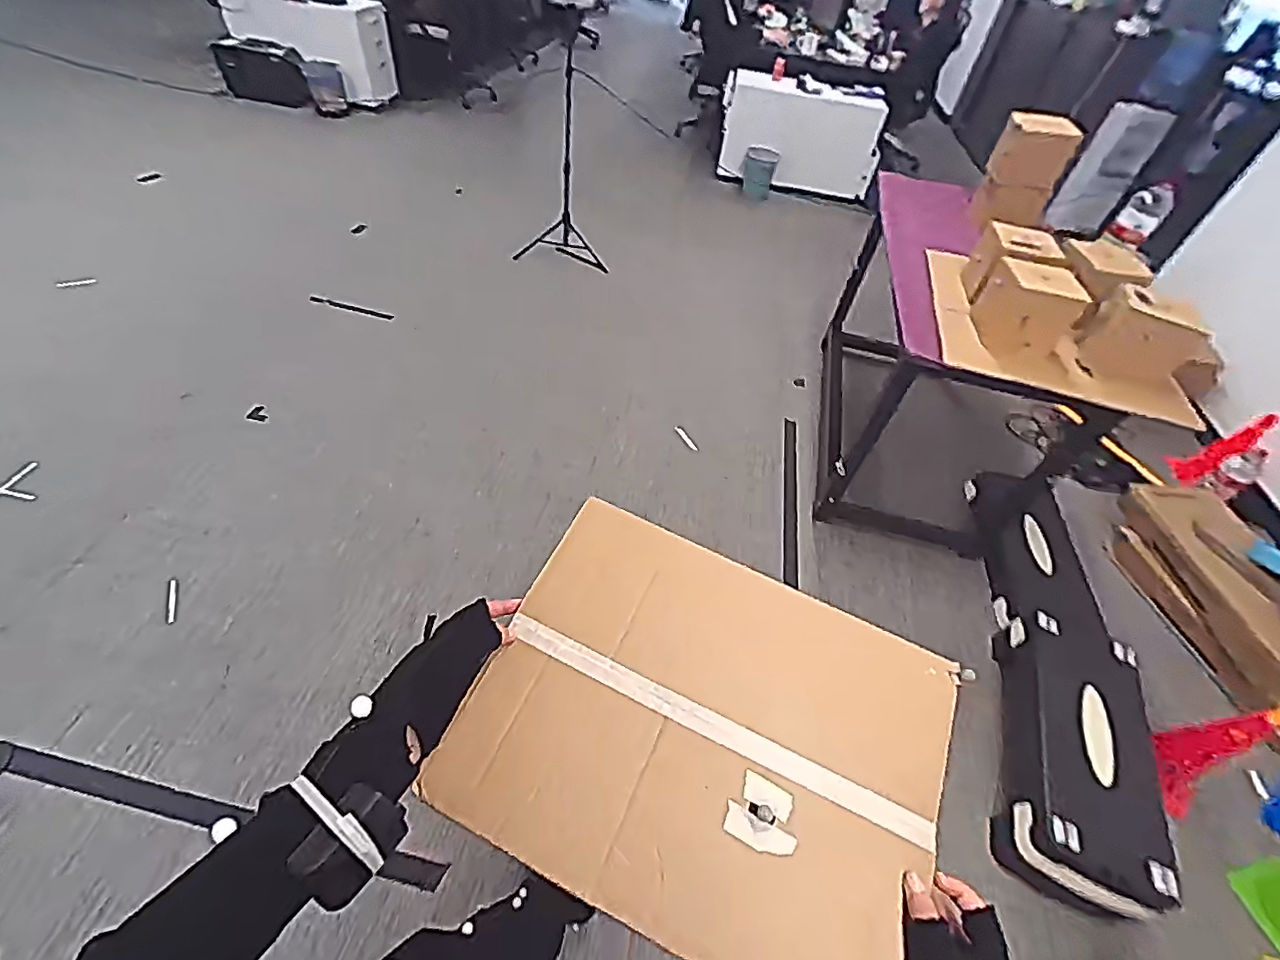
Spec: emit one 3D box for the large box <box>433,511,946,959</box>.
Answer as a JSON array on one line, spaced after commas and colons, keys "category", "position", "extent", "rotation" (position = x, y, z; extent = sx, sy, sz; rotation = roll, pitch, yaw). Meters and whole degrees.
[{"category": "large box", "position": [0.052, 0.301, 0.622], "extent": [0.408, 0.320, 0.320], "rotation": [24, 60, 10]}]
